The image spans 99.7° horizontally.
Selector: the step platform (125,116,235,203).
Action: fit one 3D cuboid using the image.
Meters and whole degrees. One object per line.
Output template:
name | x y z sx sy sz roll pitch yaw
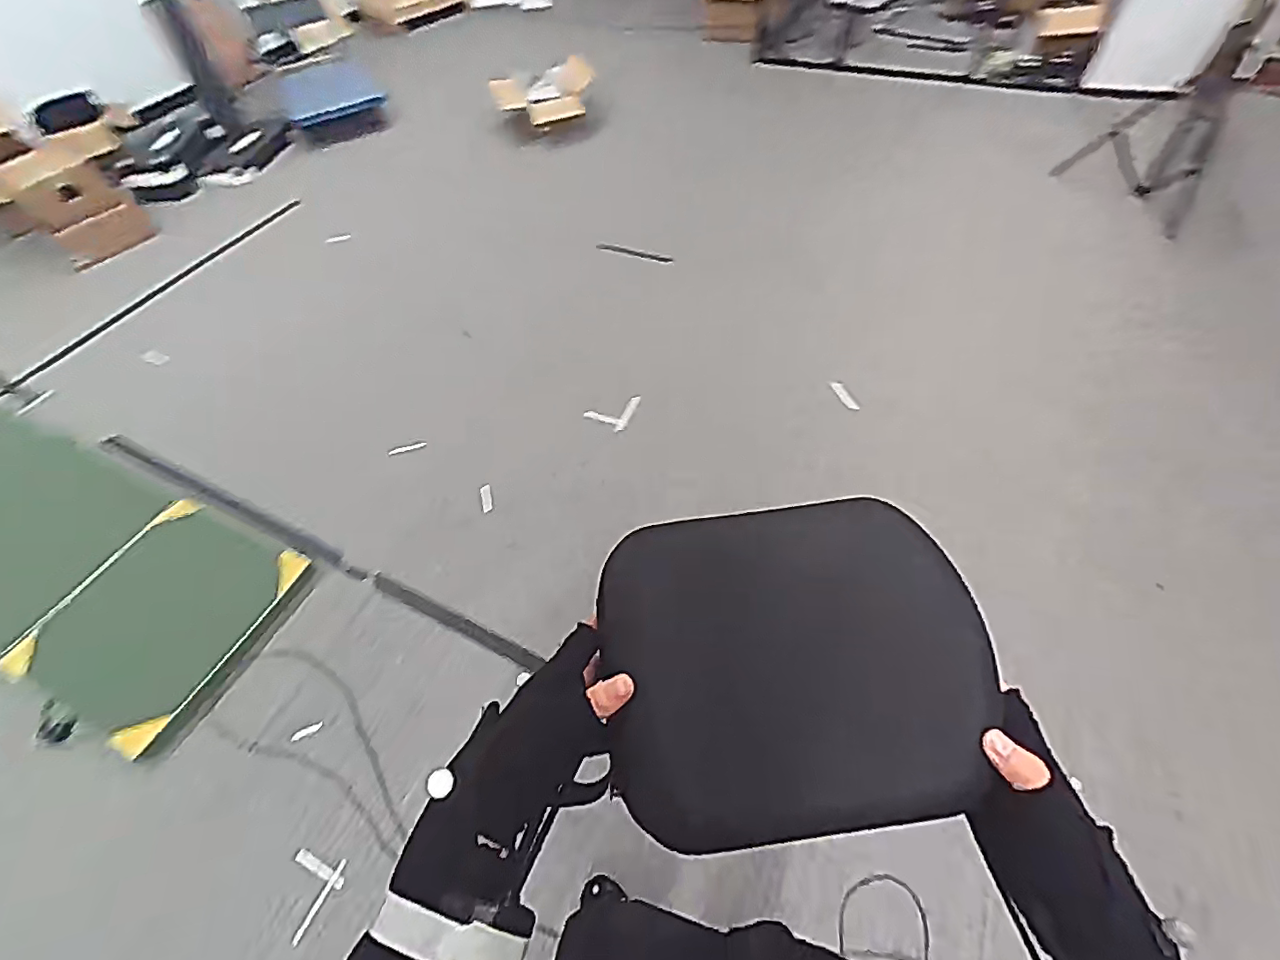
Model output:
step platform | -2.735 -1.930 3.231 0.286 0.204 0.684 -4 55 0
